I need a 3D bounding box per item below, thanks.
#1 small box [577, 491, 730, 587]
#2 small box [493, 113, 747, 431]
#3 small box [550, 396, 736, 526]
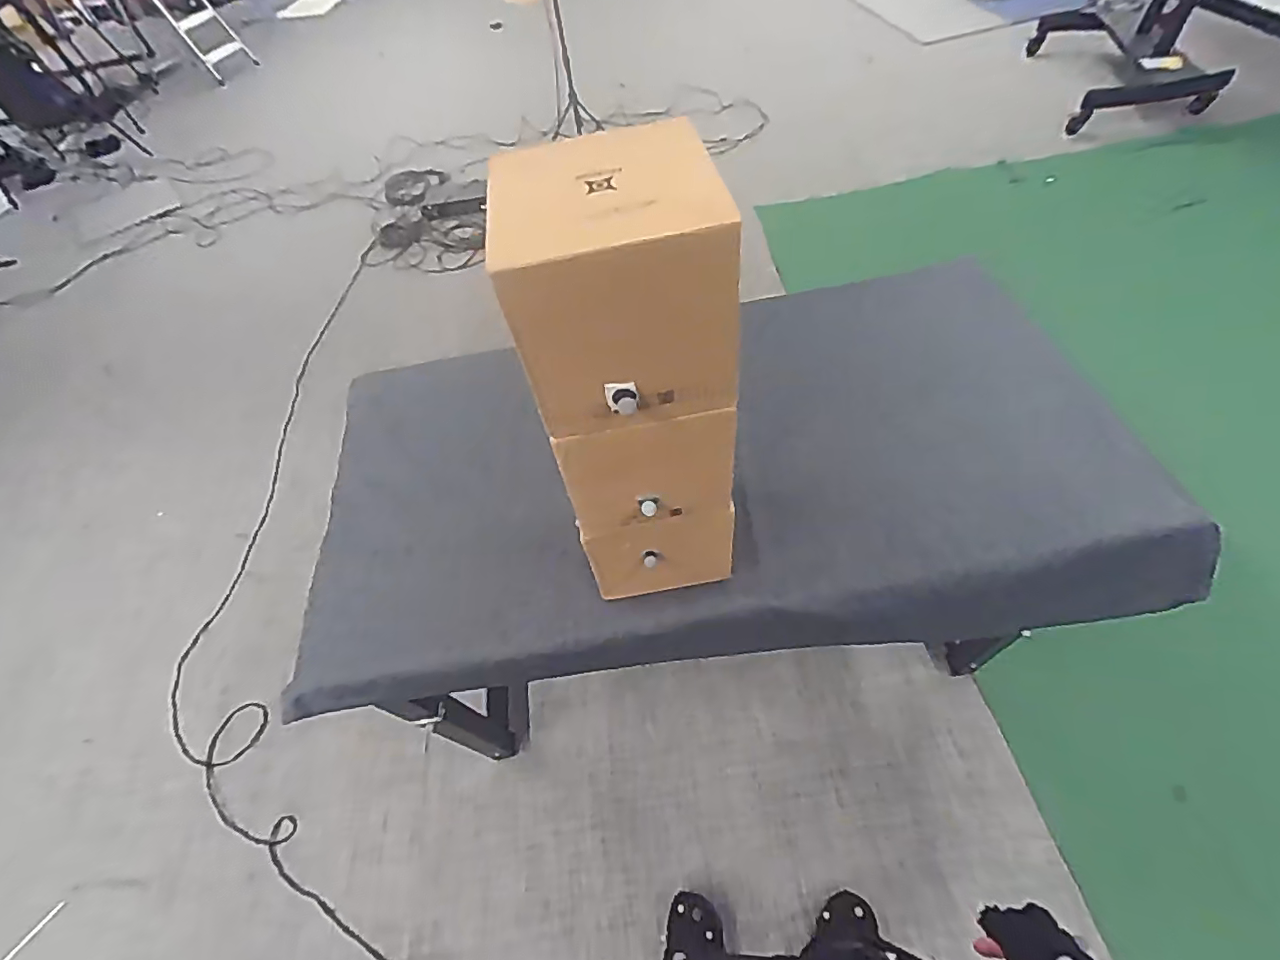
[{"bbox_3d":[0.017,0.026,0.713,0.179,0.176,0.168,-10,54,1],"label":"small box"},{"bbox_3d":[-0.015,-0.169,0.453,0.168,0.176,0.179,-11,54,1],"label":"small box"},{"bbox_3d":[0.001,-0.074,0.583,0.168,0.176,0.179,-9,54,1],"label":"small box"}]
